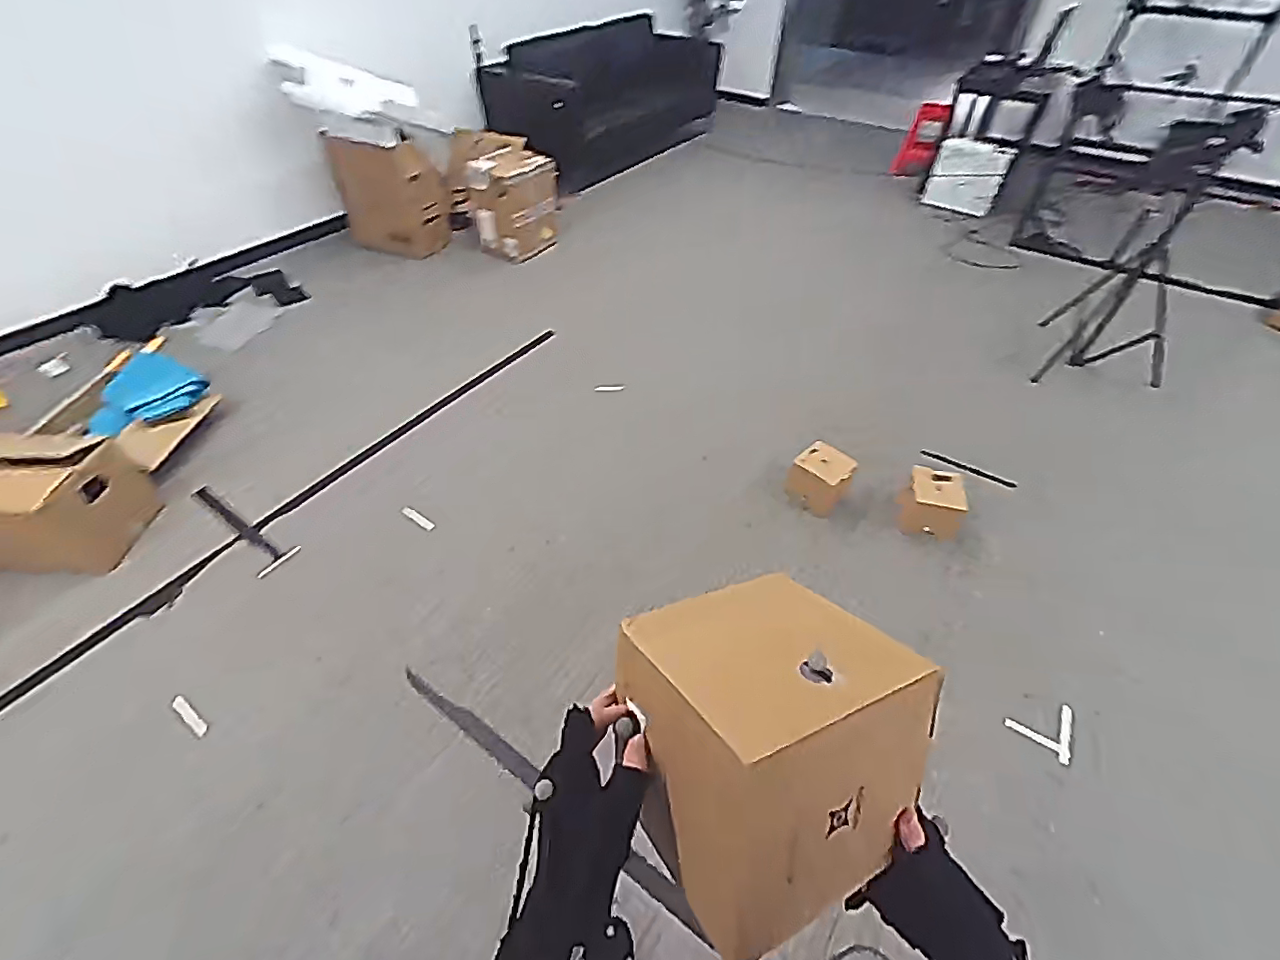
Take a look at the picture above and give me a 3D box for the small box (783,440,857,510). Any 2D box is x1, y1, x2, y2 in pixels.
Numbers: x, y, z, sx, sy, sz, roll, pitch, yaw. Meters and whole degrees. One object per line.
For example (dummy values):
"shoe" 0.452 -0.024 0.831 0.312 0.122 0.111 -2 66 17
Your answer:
"small box" 0.660 -0.011 1.998 0.168 0.176 0.179 -34 56 -29

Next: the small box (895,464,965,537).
"small box" 1.024 0.073 1.923 0.168 0.176 0.179 11 48 9
